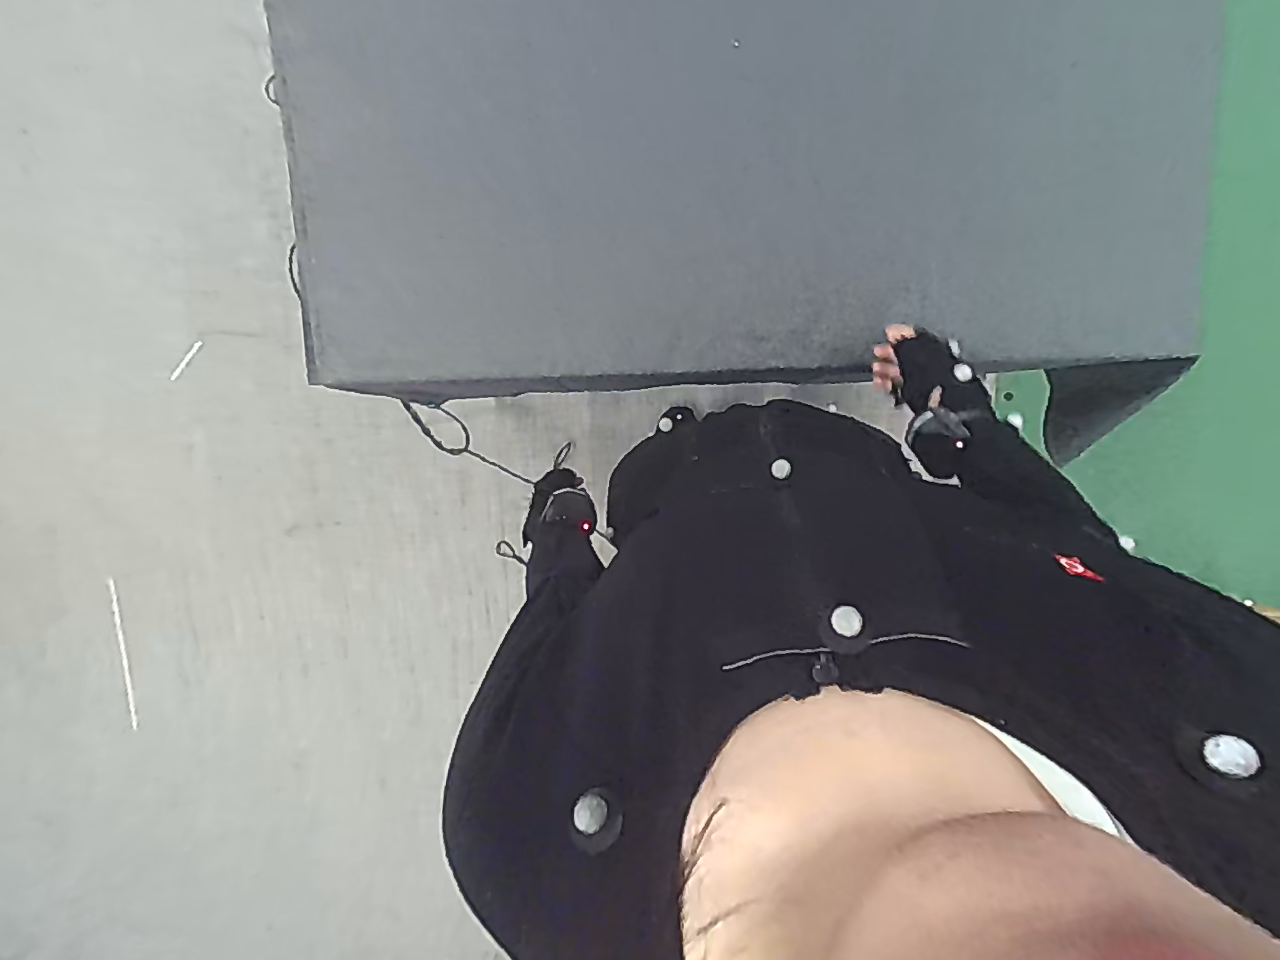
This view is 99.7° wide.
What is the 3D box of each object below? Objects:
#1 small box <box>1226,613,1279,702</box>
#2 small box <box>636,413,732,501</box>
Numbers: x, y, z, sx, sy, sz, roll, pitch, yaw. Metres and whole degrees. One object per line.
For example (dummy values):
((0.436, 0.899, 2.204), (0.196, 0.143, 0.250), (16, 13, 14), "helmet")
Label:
((1.483, 0.407, 1.207), (0.168, 0.176, 0.179), (3, 96, 2), "small box")
((0.110, -0.065, 1.409), (0.179, 0.176, 0.168), (39, 109, 15), "small box")
